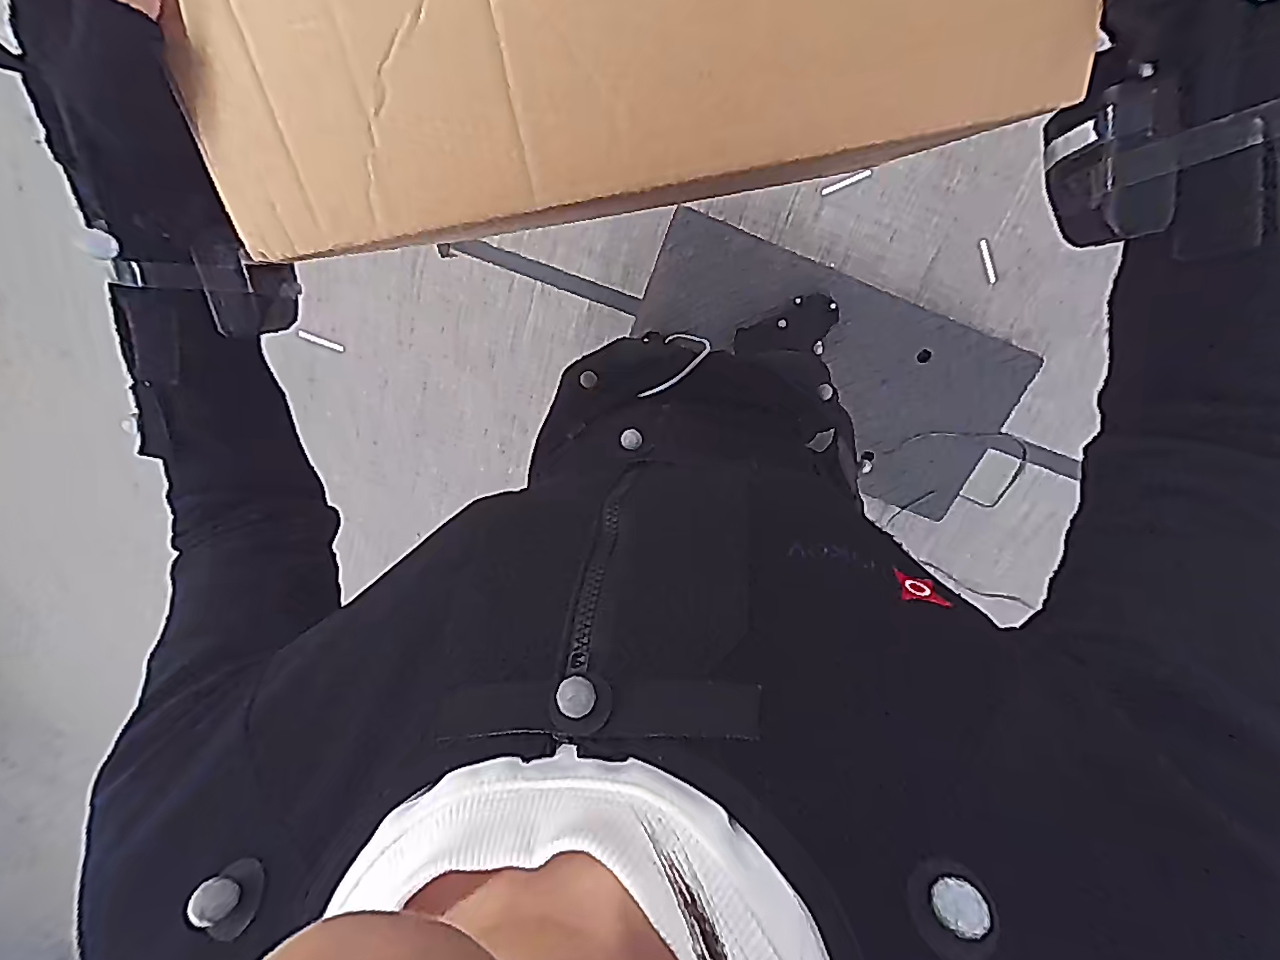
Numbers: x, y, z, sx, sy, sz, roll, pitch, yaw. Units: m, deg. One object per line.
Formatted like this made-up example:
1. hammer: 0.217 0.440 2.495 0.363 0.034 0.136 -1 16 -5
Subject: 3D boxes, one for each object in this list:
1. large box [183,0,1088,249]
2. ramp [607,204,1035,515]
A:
1. large box: -0.014 -0.352 0.340 0.408 0.320 0.320 -6 116 10
2. ramp: 0.460 -0.268 1.383 0.991 0.206 0.509 21 109 2
